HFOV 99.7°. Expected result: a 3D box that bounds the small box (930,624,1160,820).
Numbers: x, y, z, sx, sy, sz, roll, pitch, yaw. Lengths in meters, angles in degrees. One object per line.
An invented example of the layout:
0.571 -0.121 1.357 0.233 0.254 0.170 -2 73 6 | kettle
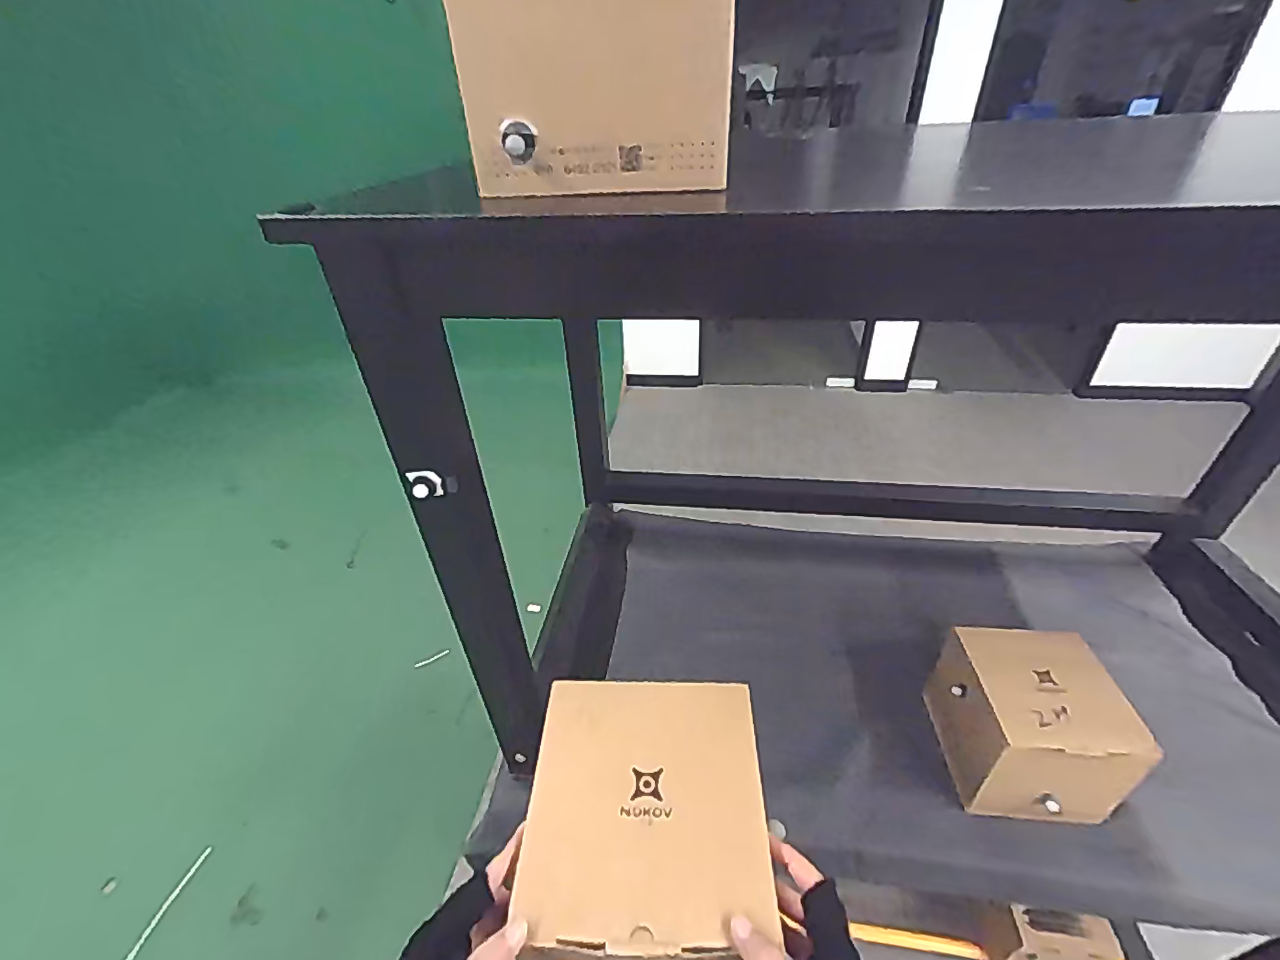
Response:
0.519 0.322 0.732 0.168 0.176 0.179 1 34 6 | small box

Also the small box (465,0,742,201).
-0.015 -0.304 0.390 0.168 0.176 0.179 1 35 4 | small box
